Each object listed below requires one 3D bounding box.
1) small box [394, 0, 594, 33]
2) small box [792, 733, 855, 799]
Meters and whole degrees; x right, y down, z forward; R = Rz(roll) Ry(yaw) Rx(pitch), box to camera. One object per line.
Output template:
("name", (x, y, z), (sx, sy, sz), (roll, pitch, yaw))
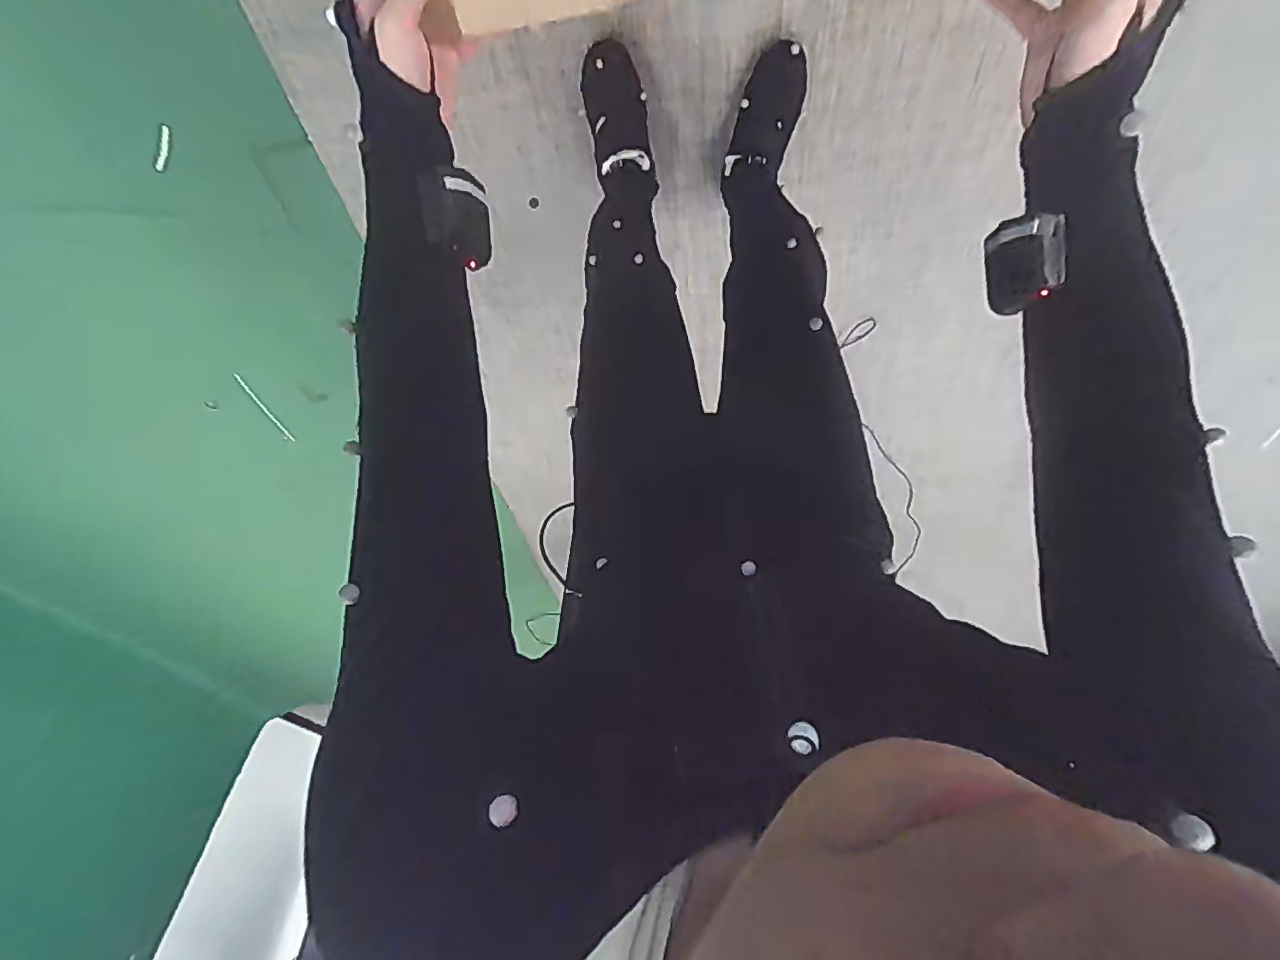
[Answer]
("small box", (-0.089, -0.450, 0.385), (0.179, 0.176, 0.168), (9, 141, 21))
("small box", (0.597, 0.949, 1.780), (0.168, 0.176, 0.179), (-3, 140, 9))
